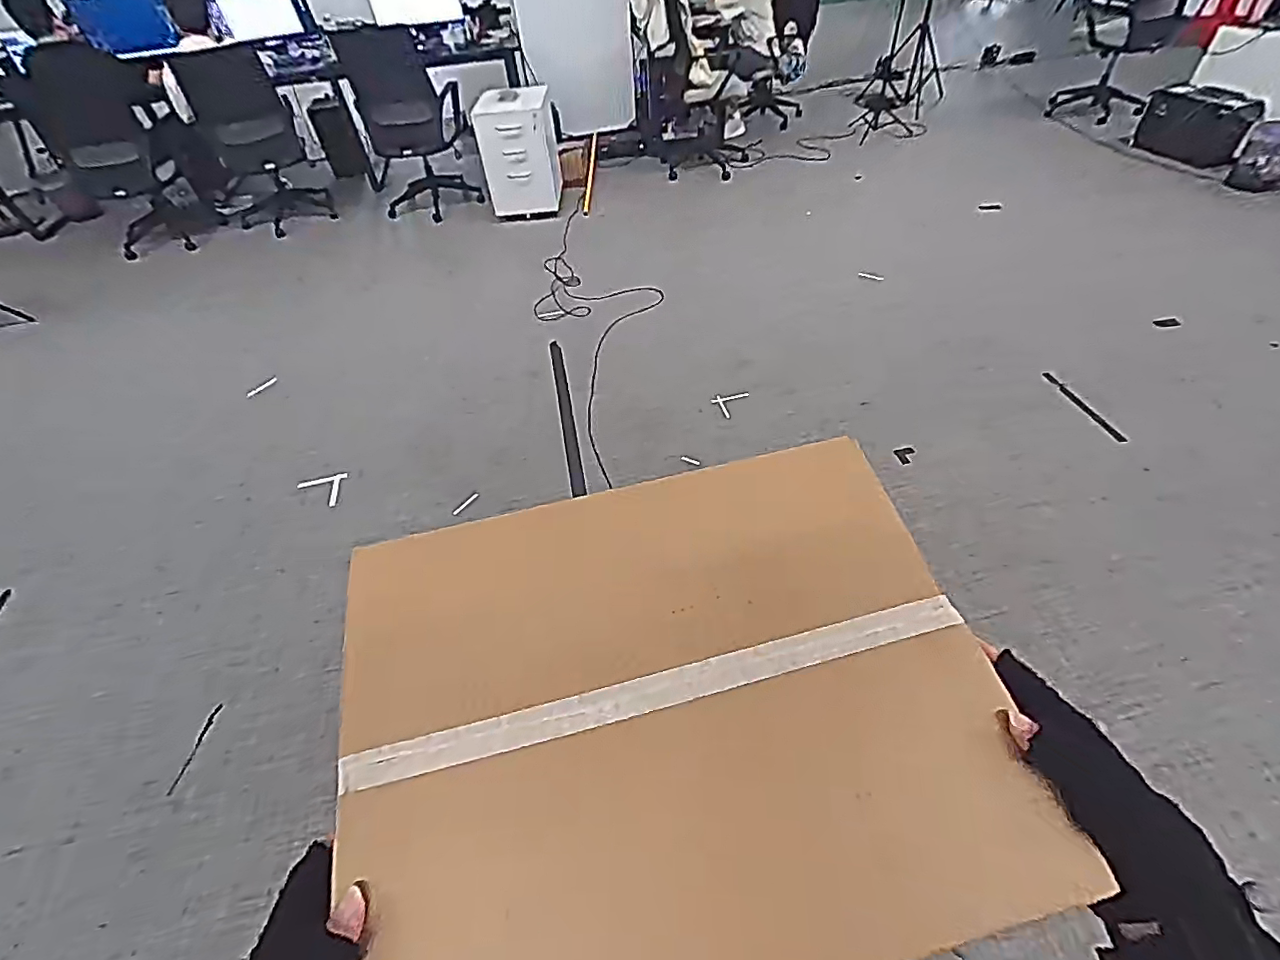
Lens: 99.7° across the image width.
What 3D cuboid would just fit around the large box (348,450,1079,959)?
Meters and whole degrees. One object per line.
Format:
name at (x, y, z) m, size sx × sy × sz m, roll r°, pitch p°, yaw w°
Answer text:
large box at (0.023, 0.223, 0.478) m, size 0.408 × 0.320 × 0.320 m, roll -14°, pitch 56°, yaw -5°
